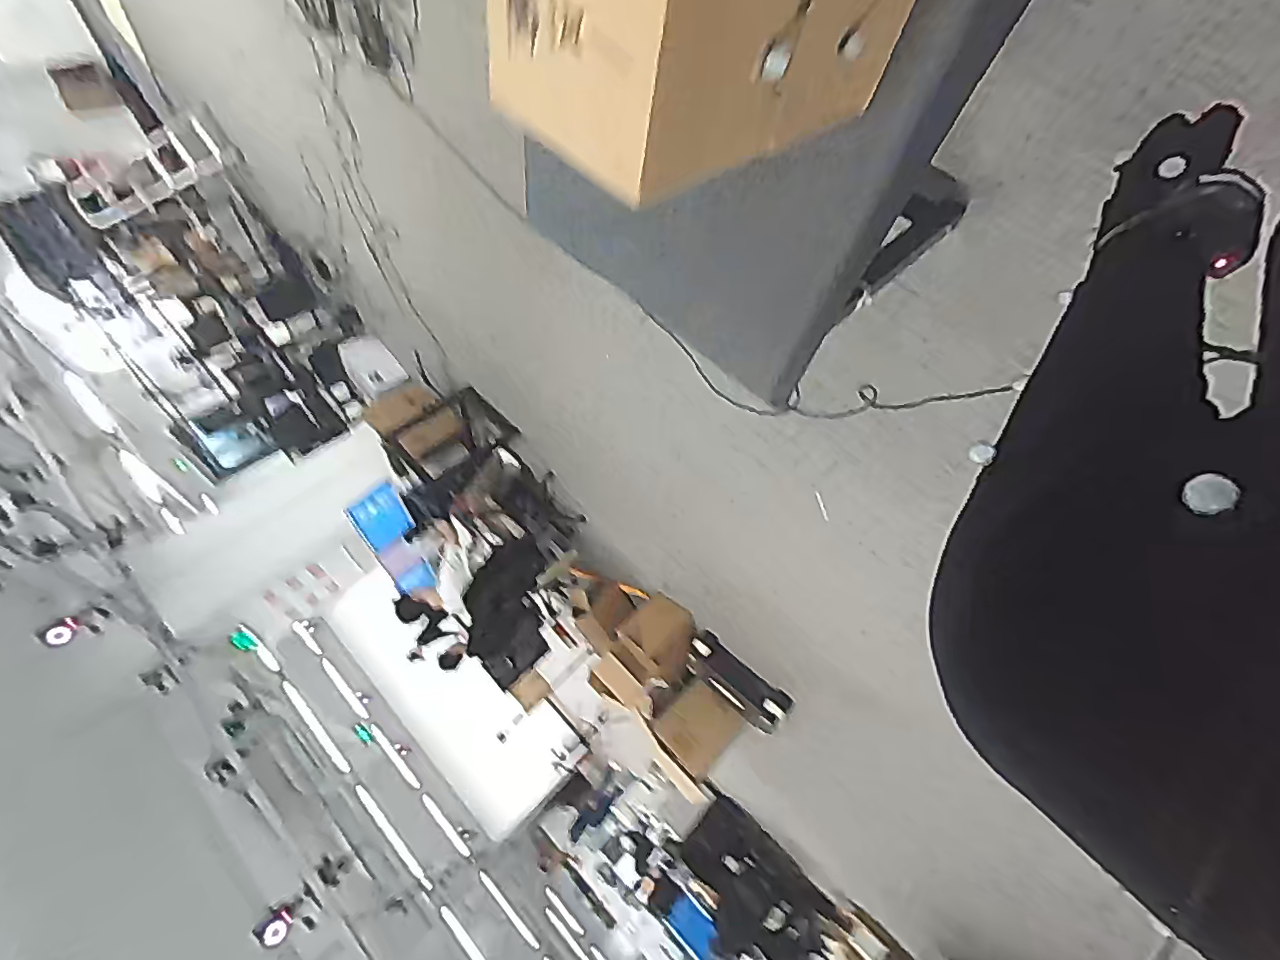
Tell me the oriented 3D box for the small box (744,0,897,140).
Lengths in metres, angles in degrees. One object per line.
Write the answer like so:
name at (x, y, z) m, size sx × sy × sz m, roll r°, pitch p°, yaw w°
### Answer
small box at (0.122, -0.440, 0.463) m, size 0.168 × 0.176 × 0.179 m, roll 43°, pitch 152°, yaw 16°

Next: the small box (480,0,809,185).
small box at (0.004, -0.354, 0.387) m, size 0.179 × 0.176 × 0.168 m, roll 43°, pitch 151°, yaw 15°
